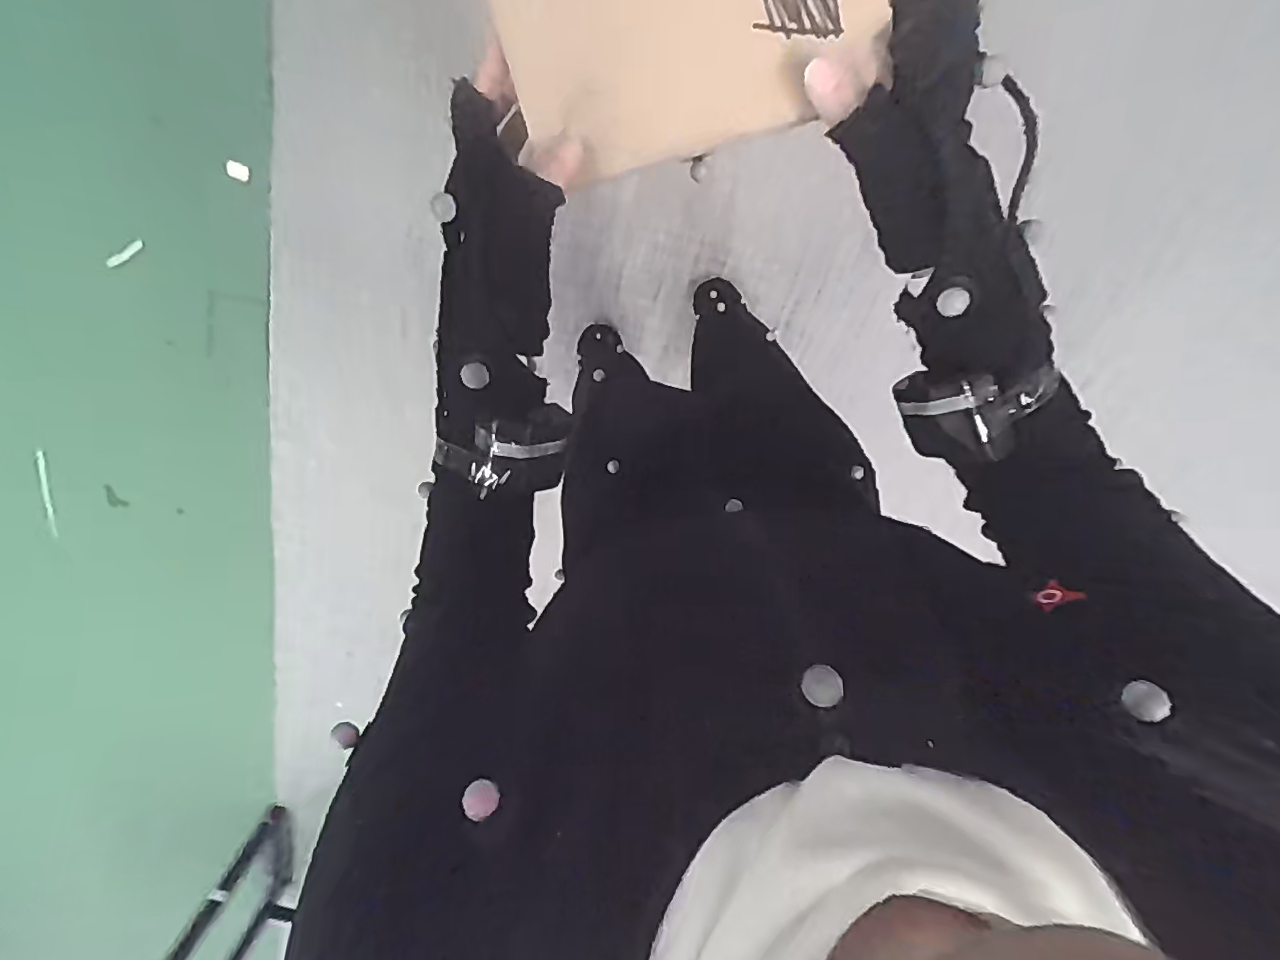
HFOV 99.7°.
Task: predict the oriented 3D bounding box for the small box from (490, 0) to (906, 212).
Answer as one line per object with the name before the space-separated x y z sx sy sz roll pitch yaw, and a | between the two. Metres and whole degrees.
small box | 0.024 -0.271 0.300 0.179 0.176 0.168 -14 118 15
